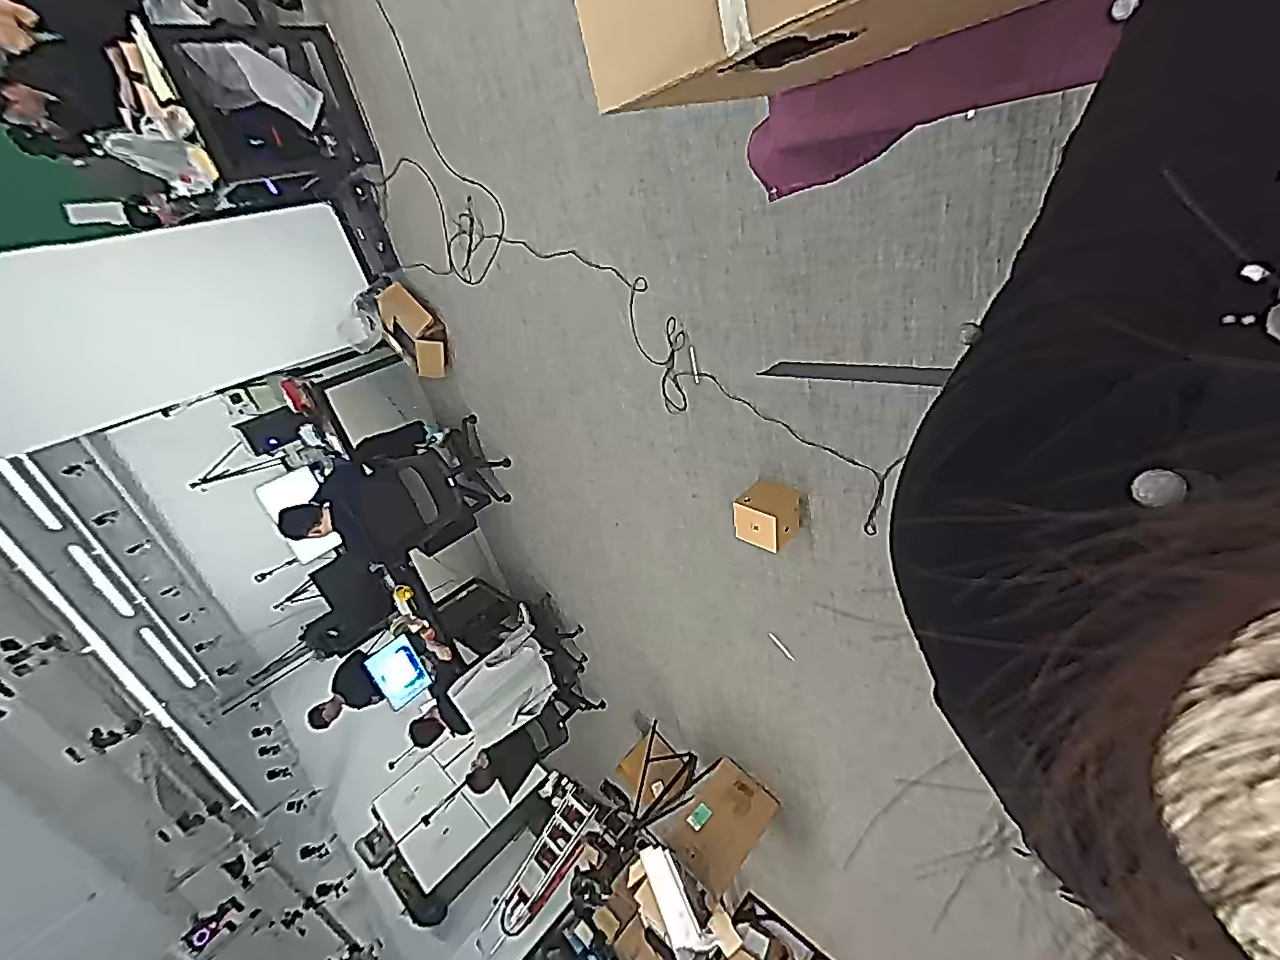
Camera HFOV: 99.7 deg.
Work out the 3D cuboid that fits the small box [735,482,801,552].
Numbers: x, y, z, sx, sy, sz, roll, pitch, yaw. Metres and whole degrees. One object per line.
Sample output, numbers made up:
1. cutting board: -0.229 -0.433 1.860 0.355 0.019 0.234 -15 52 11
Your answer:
1. small box: 0.468 0.126 1.959 0.179 0.176 0.168 21 134 40
